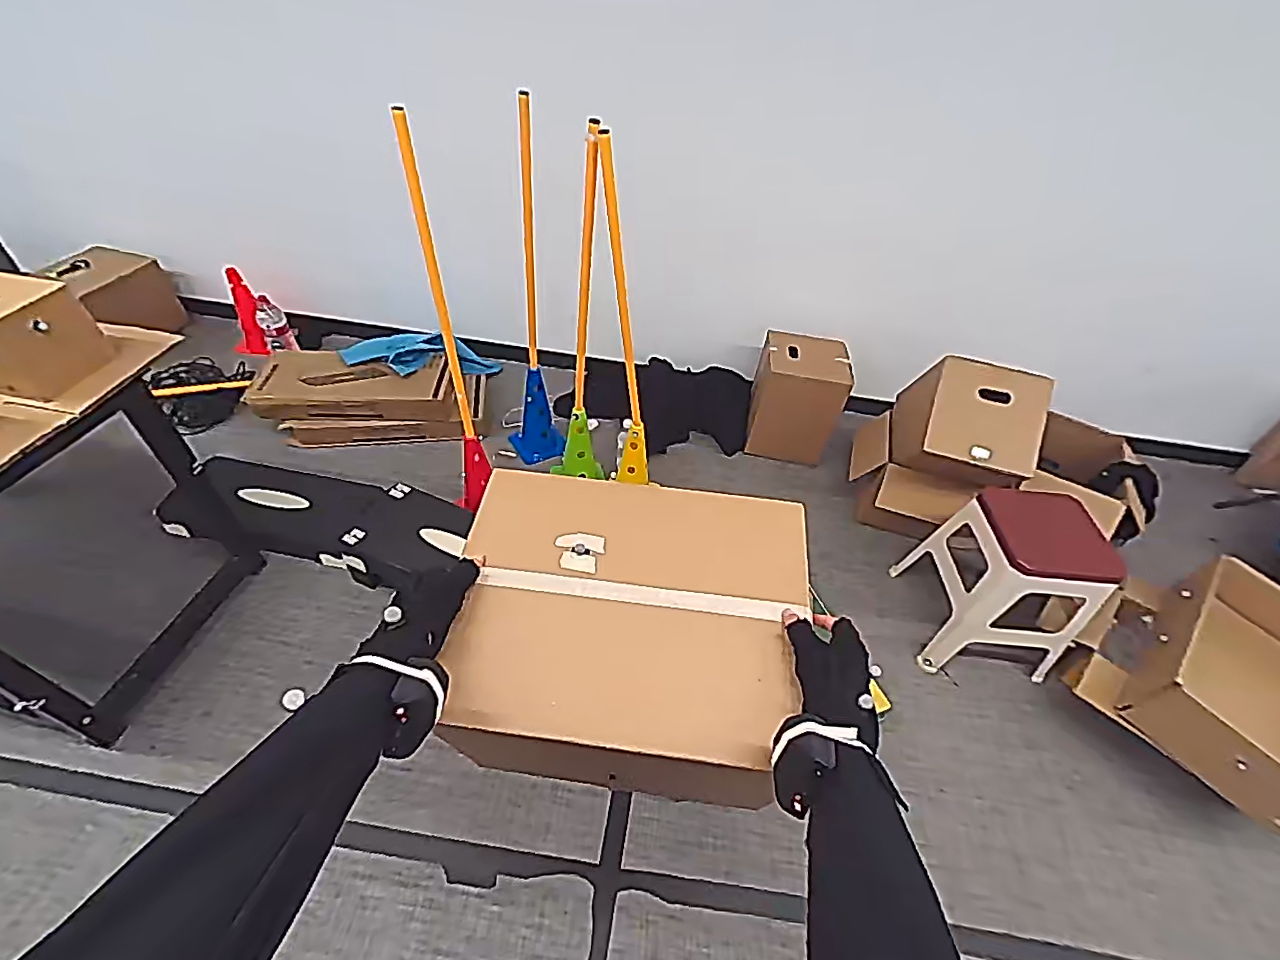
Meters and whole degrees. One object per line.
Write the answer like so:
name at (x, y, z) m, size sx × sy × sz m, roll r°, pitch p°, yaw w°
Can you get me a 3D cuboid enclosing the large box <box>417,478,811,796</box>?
large box at (-0.013, 0.225, 0.741) m, size 0.408 × 0.320 × 0.320 m, roll 6°, pitch 54°, yaw 4°
